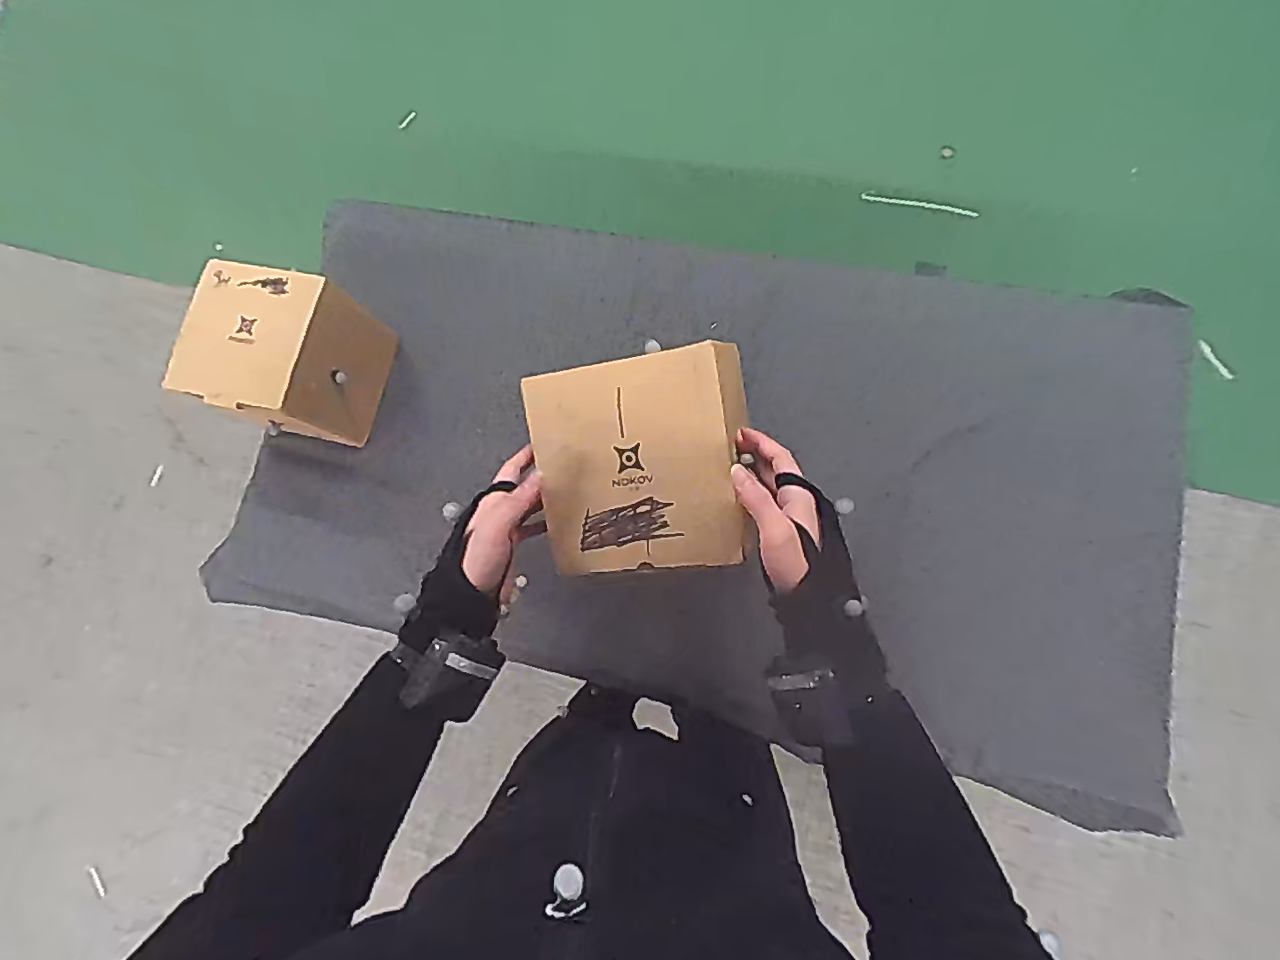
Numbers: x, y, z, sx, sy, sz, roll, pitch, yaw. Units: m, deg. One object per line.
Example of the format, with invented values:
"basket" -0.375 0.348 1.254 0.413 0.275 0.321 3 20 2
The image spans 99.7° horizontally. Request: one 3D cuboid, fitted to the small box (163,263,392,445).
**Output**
"small box" -0.463 -0.155 0.721 0.168 0.176 0.179 12 82 7
